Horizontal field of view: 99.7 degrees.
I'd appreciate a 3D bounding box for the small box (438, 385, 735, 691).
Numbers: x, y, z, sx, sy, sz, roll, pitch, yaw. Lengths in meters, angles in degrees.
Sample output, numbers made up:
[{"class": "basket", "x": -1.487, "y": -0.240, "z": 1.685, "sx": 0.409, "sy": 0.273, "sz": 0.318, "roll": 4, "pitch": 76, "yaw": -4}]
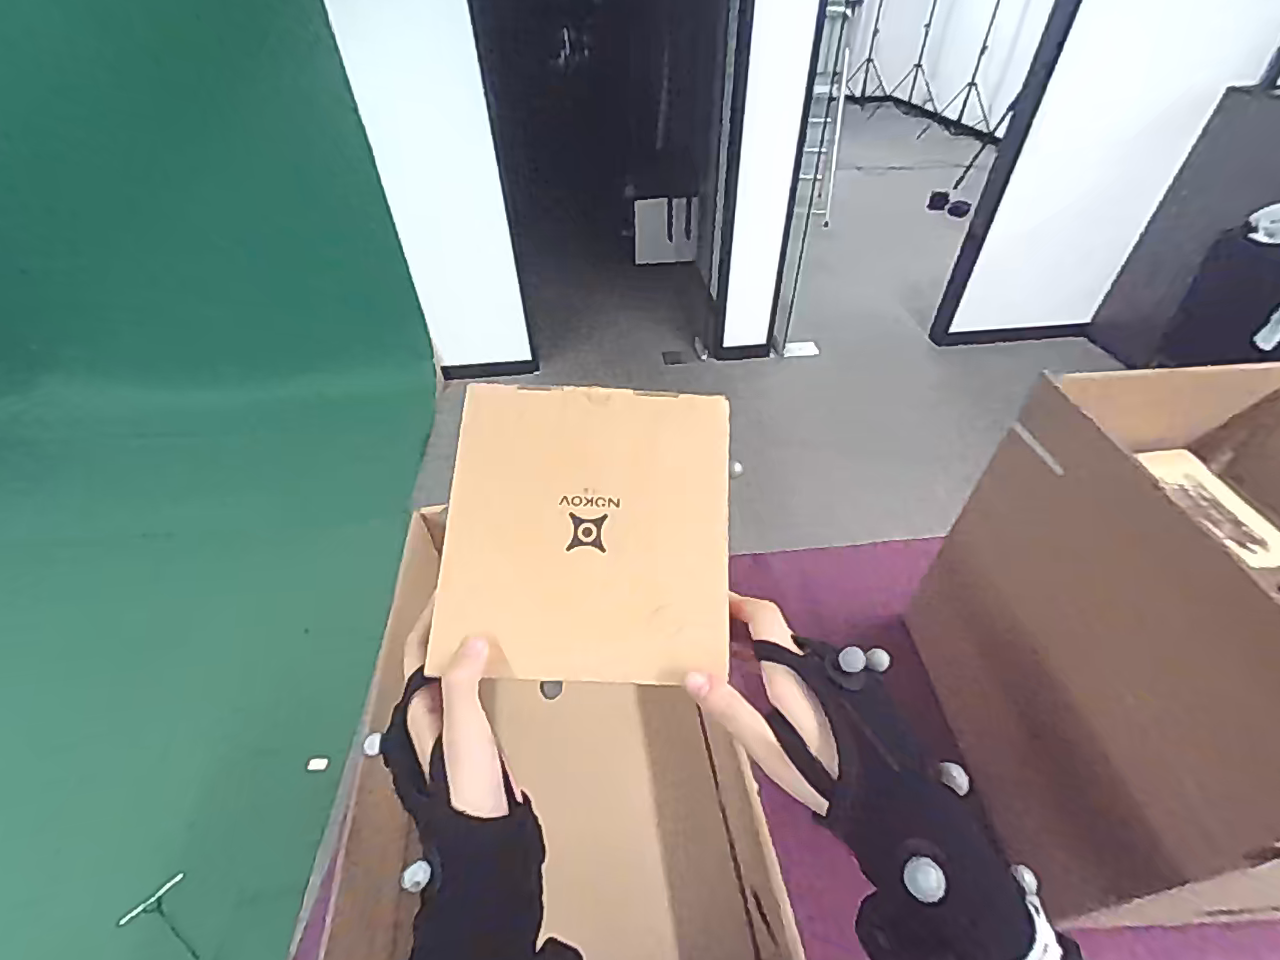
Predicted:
[{"class": "small box", "x": -0.027, "y": 0.048, "z": 0.391, "sx": 0.168, "sy": 0.176, "sz": 0.179, "roll": 2, "pitch": 74, "yaw": -1}]
